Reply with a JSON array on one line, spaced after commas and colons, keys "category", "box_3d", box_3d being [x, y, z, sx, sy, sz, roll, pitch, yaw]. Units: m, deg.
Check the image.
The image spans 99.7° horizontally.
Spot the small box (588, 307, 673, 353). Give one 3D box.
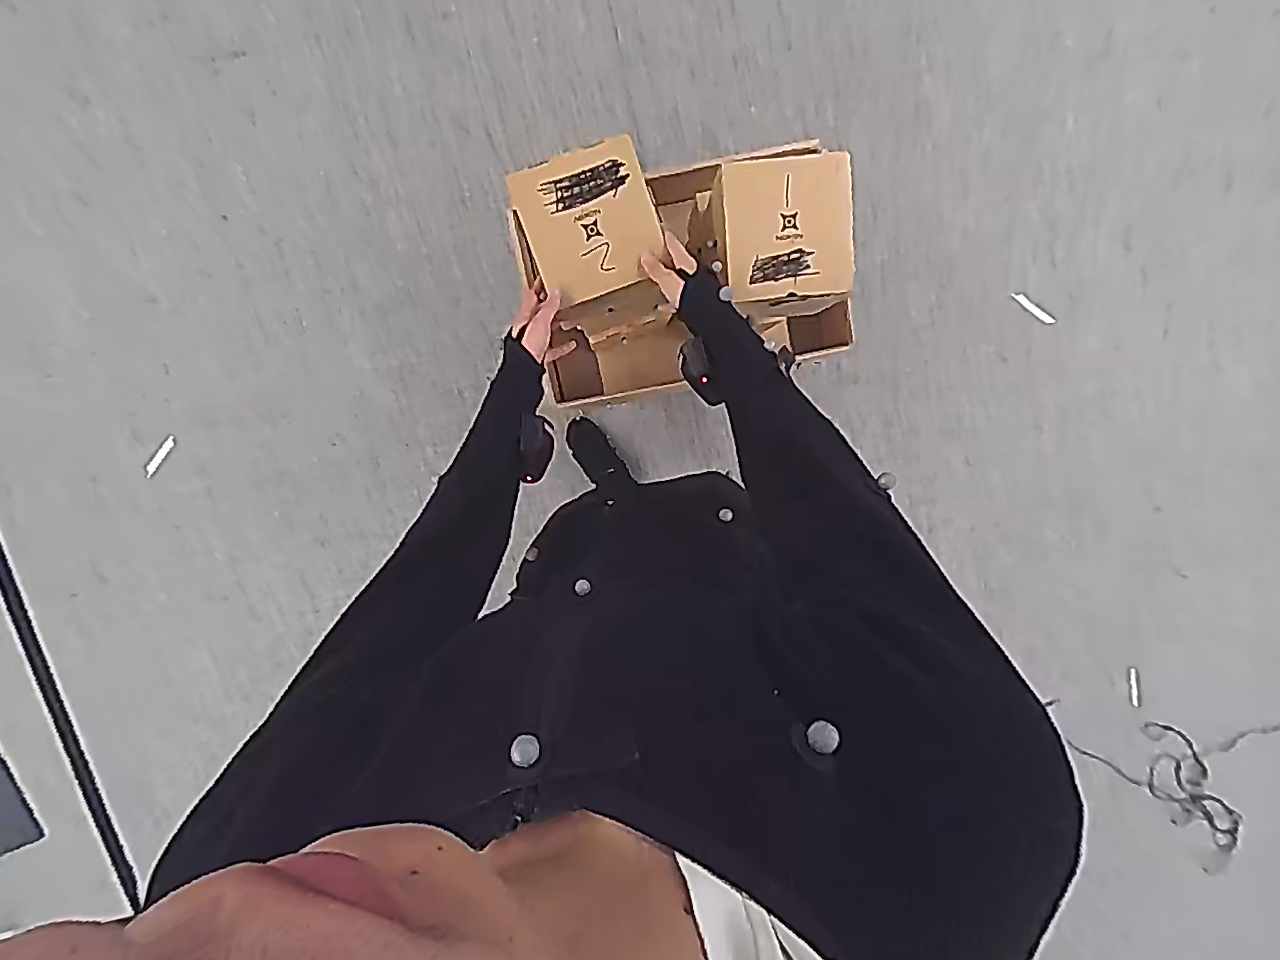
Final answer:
[{"category": "small box", "box_3d": [-0.046, -0.370, 1.084, 0.168, 0.176, 0.179, -20, 99, -1]}]

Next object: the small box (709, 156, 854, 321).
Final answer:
[{"category": "small box", "box_3d": [0.192, -0.327, 0.770, 0.168, 0.176, 0.179, -5, 98, 1]}]

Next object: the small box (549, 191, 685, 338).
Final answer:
[{"category": "small box", "box_3d": [-0.041, -0.355, 0.921, 0.179, 0.176, 0.168, -21, 98, -1]}]
